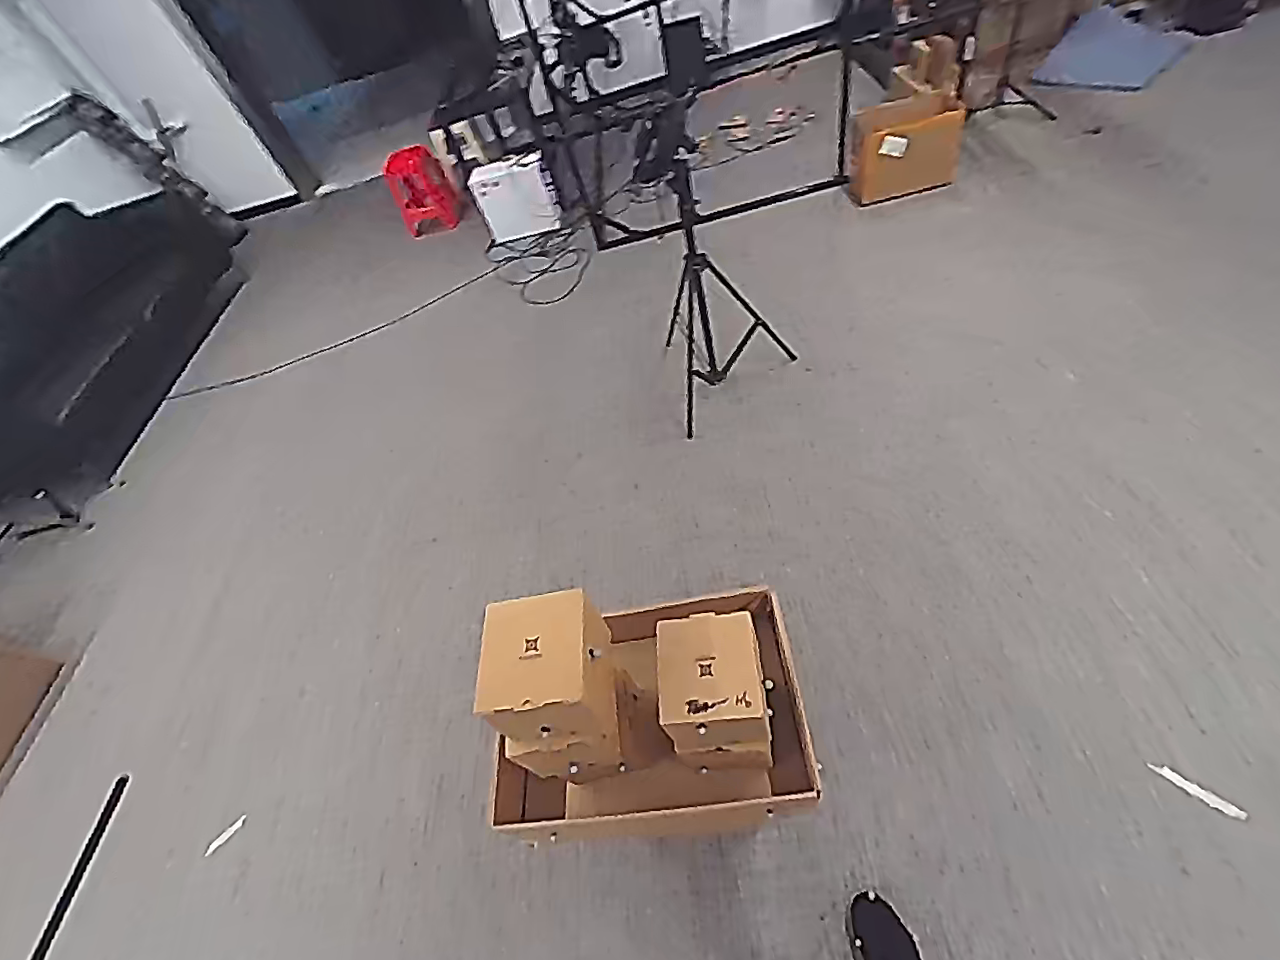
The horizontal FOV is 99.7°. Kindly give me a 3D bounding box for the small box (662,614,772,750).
[{"bbox_3d":[0.134,0.356,0.948,0.168,0.176,0.179,-9,50,11],"label":"small box"}]

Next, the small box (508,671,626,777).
[{"bbox_3d":[-0.129,0.420,0.988,0.168,0.176,0.179,-14,51,5],"label":"small box"}]

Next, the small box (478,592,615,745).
[{"bbox_3d":[-0.140,0.305,0.869,0.168,0.176,0.179,-11,51,6],"label":"small box"}]
